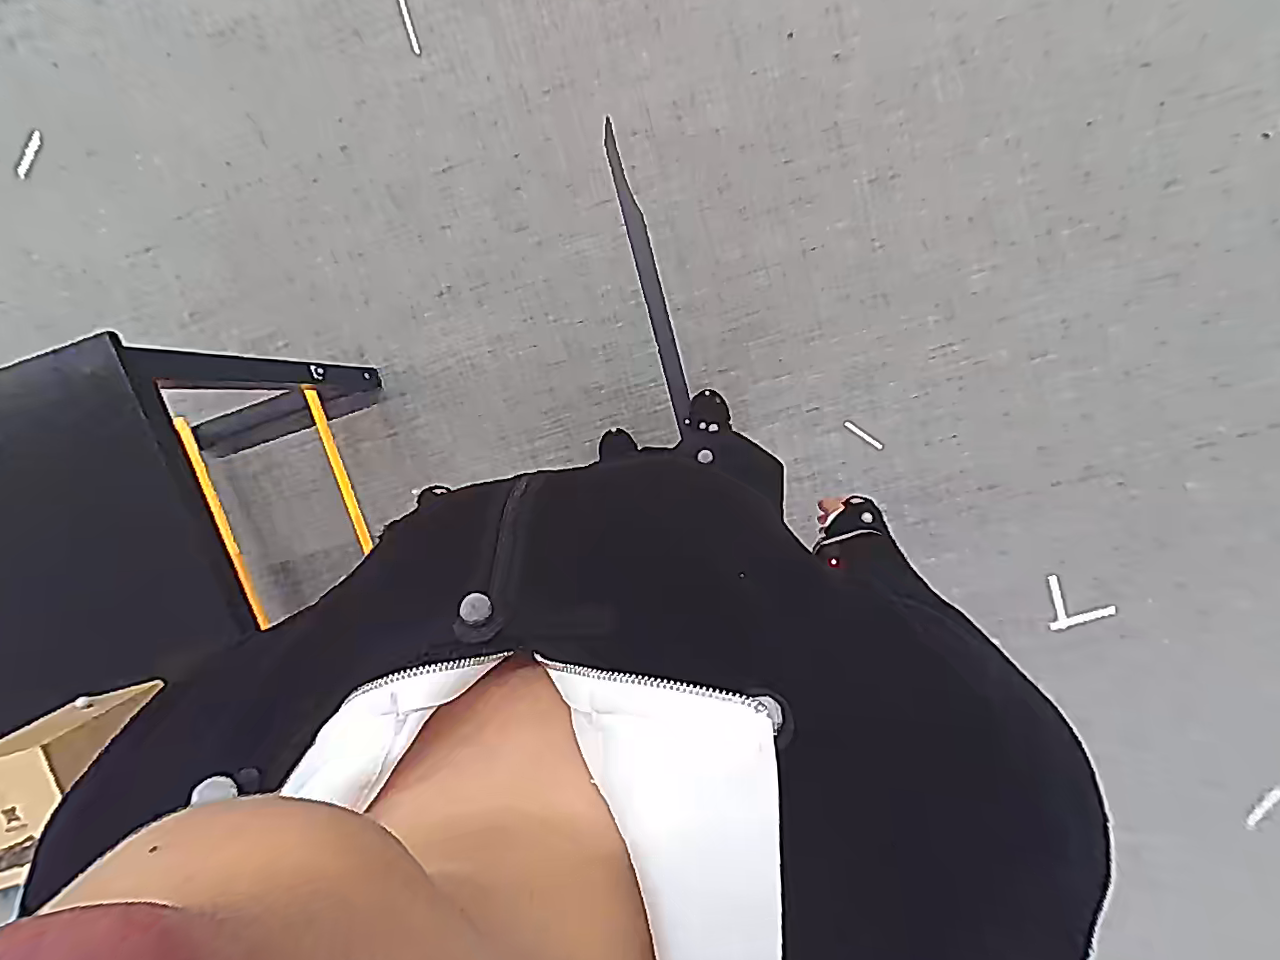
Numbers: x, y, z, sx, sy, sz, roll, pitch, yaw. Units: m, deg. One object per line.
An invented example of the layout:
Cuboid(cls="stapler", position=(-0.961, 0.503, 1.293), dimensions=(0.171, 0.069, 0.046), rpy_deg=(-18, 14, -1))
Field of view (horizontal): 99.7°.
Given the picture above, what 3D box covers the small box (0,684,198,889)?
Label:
Cuboid(cls="small box", position=(-0.790, 0.424, 0.769), dimensions=(0.168, 0.176, 0.179), rpy_deg=(-16, 97, 5))
